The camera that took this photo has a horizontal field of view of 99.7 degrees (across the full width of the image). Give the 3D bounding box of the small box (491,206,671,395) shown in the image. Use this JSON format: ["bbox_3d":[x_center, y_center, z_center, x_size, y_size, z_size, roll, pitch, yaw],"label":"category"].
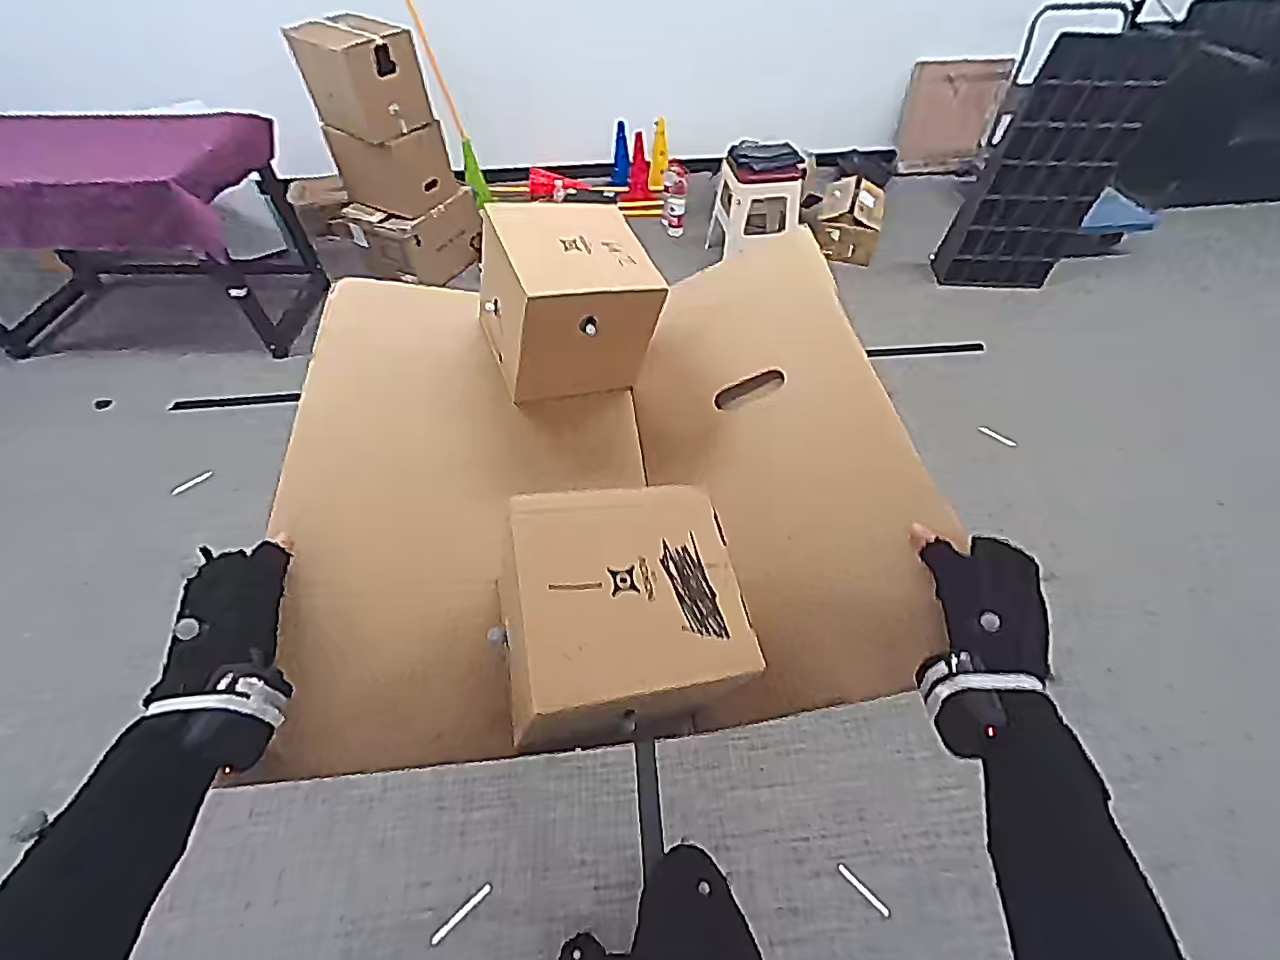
[{"bbox_3d":[-0.088,-0.226,0.699,0.179,0.176,0.168,-12,61,-25],"label":"small box"}]

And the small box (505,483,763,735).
[{"bbox_3d":[-0.023,0.117,0.486,0.179,0.176,0.168,-3,58,-19],"label":"small box"}]
